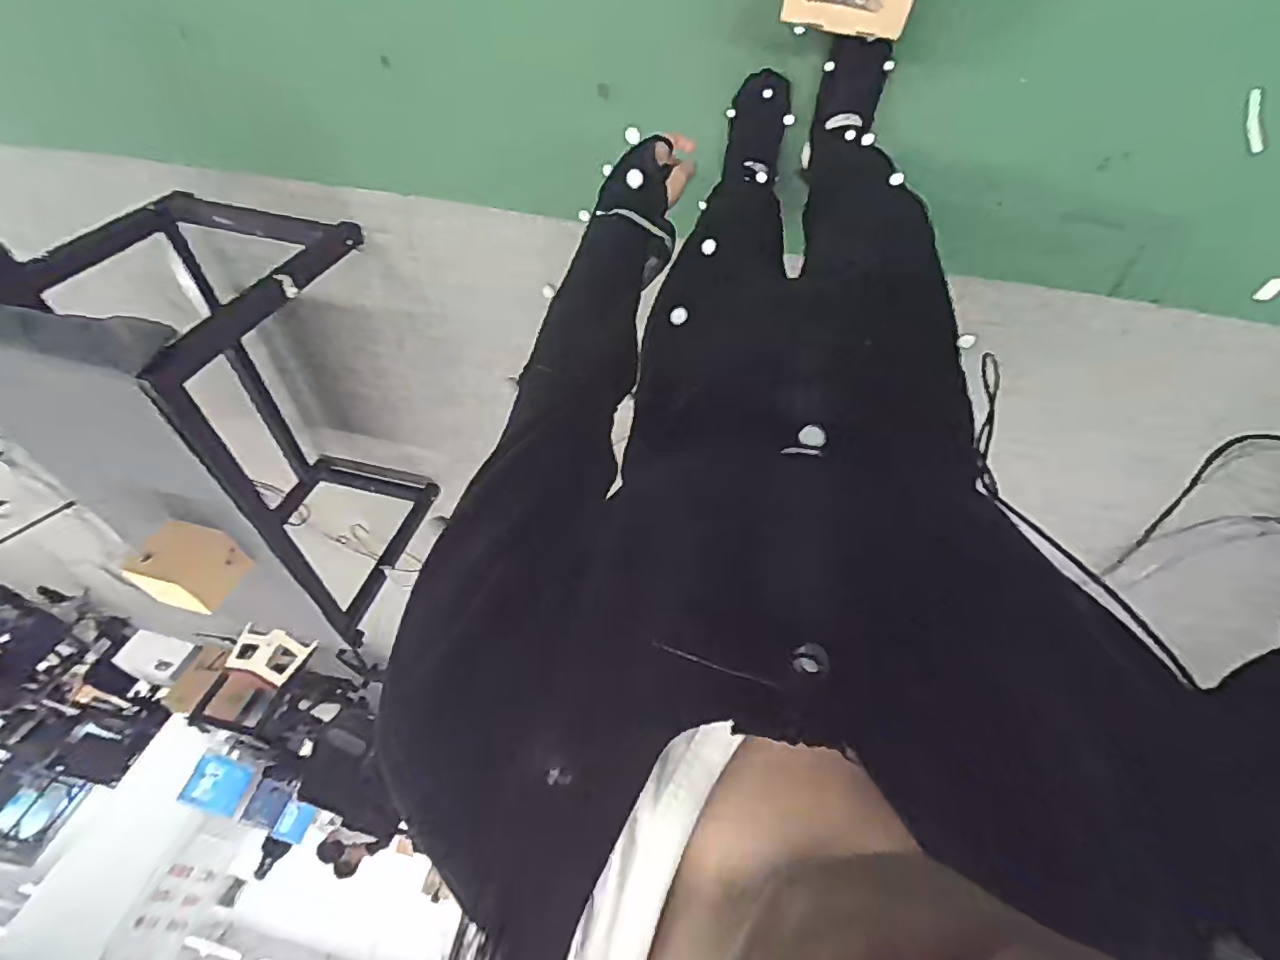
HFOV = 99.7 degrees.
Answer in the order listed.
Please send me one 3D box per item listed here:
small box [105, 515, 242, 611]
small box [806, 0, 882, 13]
[{"bbox_3d":[-1.214,0.214,1.423,0.179,0.176,0.168,12,140,5],"label":"small box"},{"bbox_3d":[0.318,-0.863,0.837,0.168,0.176,0.179,13,140,3],"label":"small box"}]
